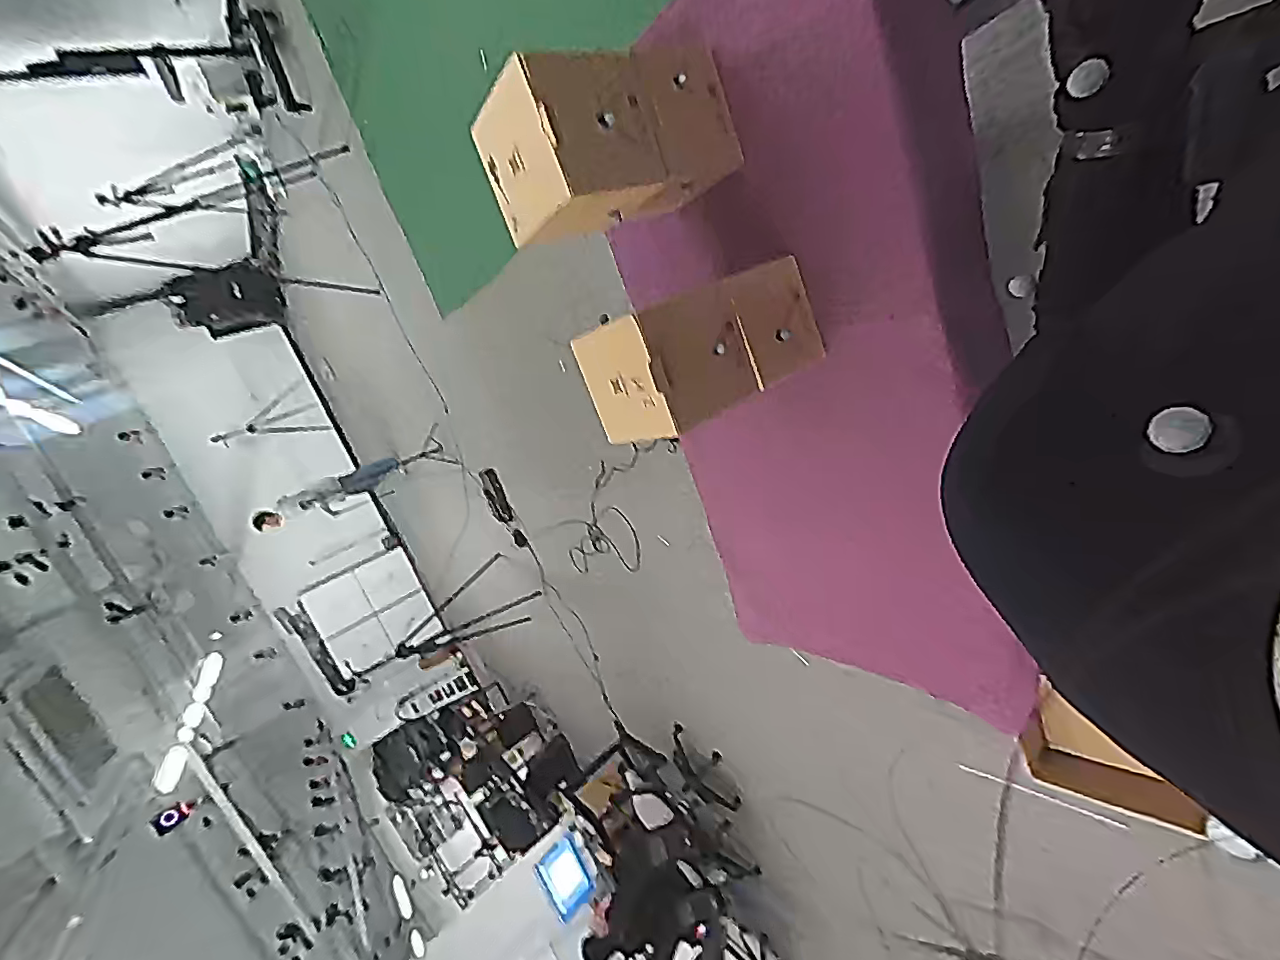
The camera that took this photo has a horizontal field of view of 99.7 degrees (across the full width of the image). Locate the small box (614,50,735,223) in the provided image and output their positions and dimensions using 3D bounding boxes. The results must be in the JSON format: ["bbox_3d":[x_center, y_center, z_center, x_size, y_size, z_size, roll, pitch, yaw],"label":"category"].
[{"bbox_3d":[0.024,-0.522,0.831,0.179,0.176,0.168,-1,114,55],"label":"small box"}]

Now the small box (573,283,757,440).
[{"bbox_3d":[0.037,-0.168,0.787,0.179,0.176,0.168,-1,115,55],"label":"small box"}]

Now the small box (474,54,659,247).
[{"bbox_3d":[-0.094,-0.447,0.745,0.179,0.176,0.168,-2,112,54],"label":"small box"}]

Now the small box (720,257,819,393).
[{"bbox_3d":[0.163,-0.236,0.869,0.179,0.176,0.168,-6,110,57],"label":"small box"}]
